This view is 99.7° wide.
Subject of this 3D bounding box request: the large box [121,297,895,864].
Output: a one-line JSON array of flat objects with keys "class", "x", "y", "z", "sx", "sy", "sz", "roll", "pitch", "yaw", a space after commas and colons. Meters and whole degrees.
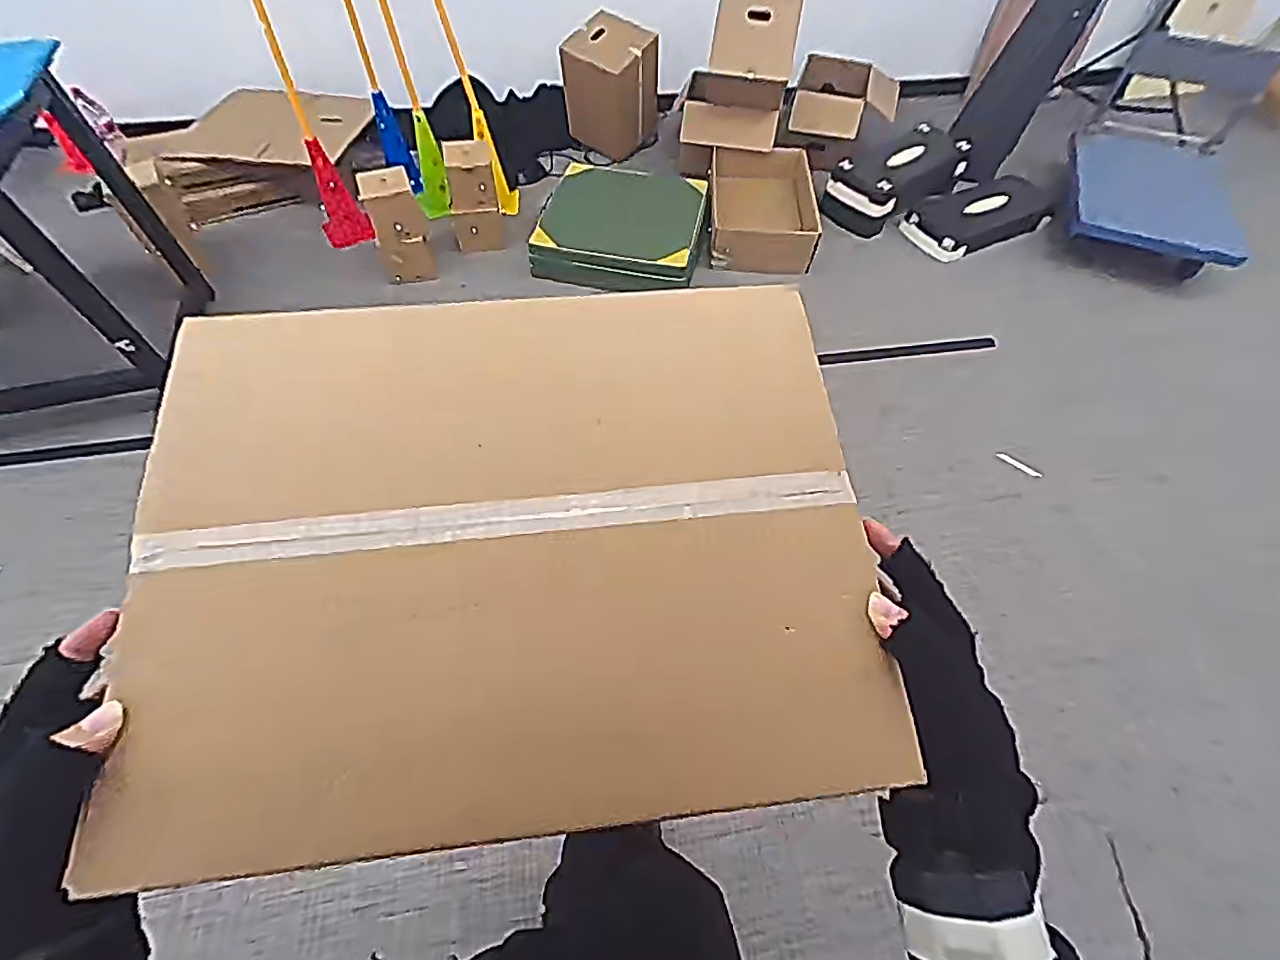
[{"class": "large box", "x": -0.081, "y": 0.079, "z": 0.468, "sx": 0.408, "sy": 0.320, "sz": 0.320, "roll": -5, "pitch": 70, "yaw": -5}]
